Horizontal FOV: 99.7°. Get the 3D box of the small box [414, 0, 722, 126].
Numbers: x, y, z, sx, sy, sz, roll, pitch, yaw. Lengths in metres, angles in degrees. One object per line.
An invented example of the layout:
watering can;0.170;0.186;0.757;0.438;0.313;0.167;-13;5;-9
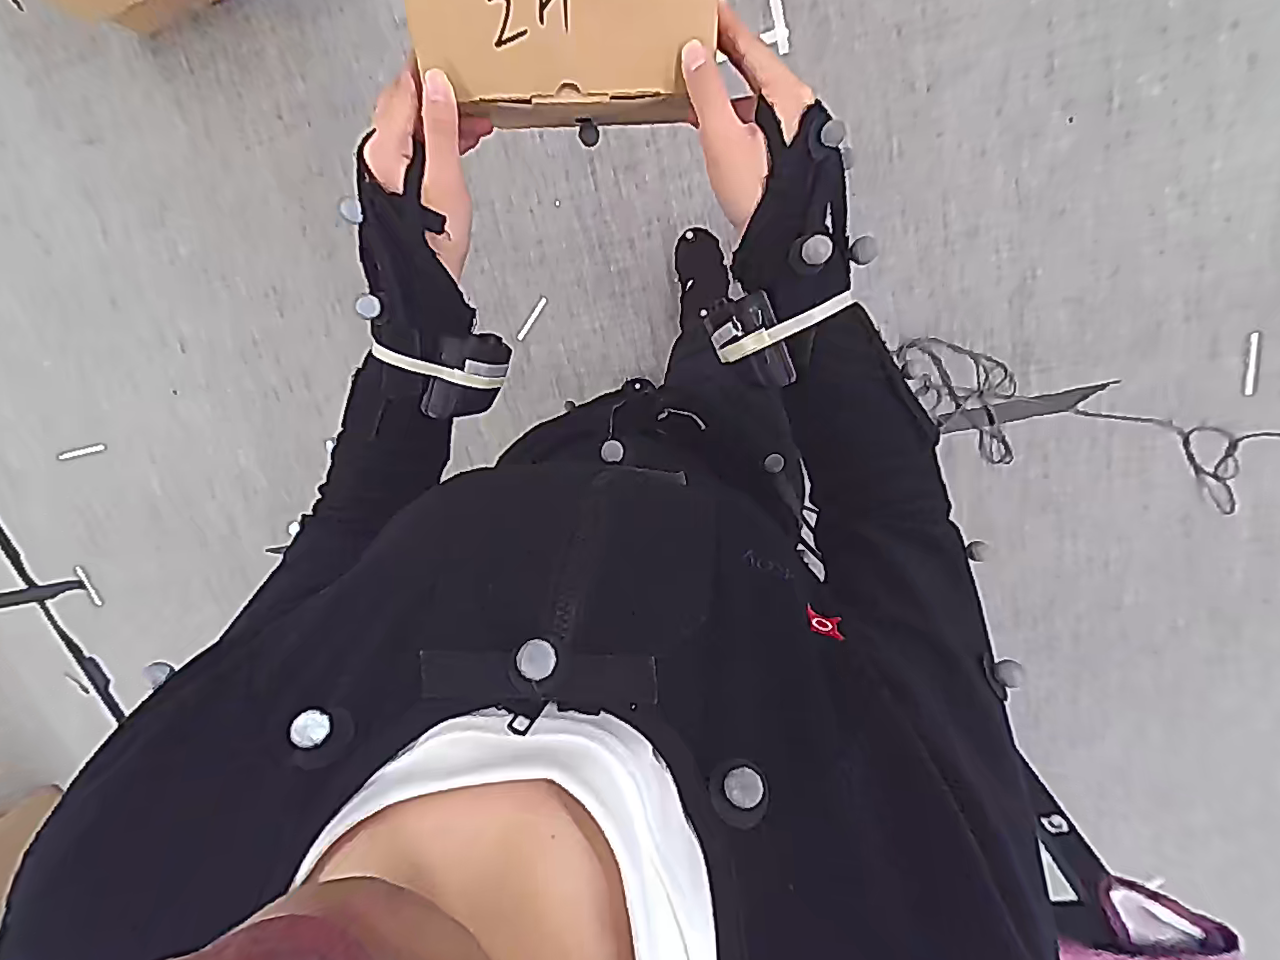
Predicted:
small box;-0.038;-0.335;0.335;0.168;0.176;0.179;-1;118;1
